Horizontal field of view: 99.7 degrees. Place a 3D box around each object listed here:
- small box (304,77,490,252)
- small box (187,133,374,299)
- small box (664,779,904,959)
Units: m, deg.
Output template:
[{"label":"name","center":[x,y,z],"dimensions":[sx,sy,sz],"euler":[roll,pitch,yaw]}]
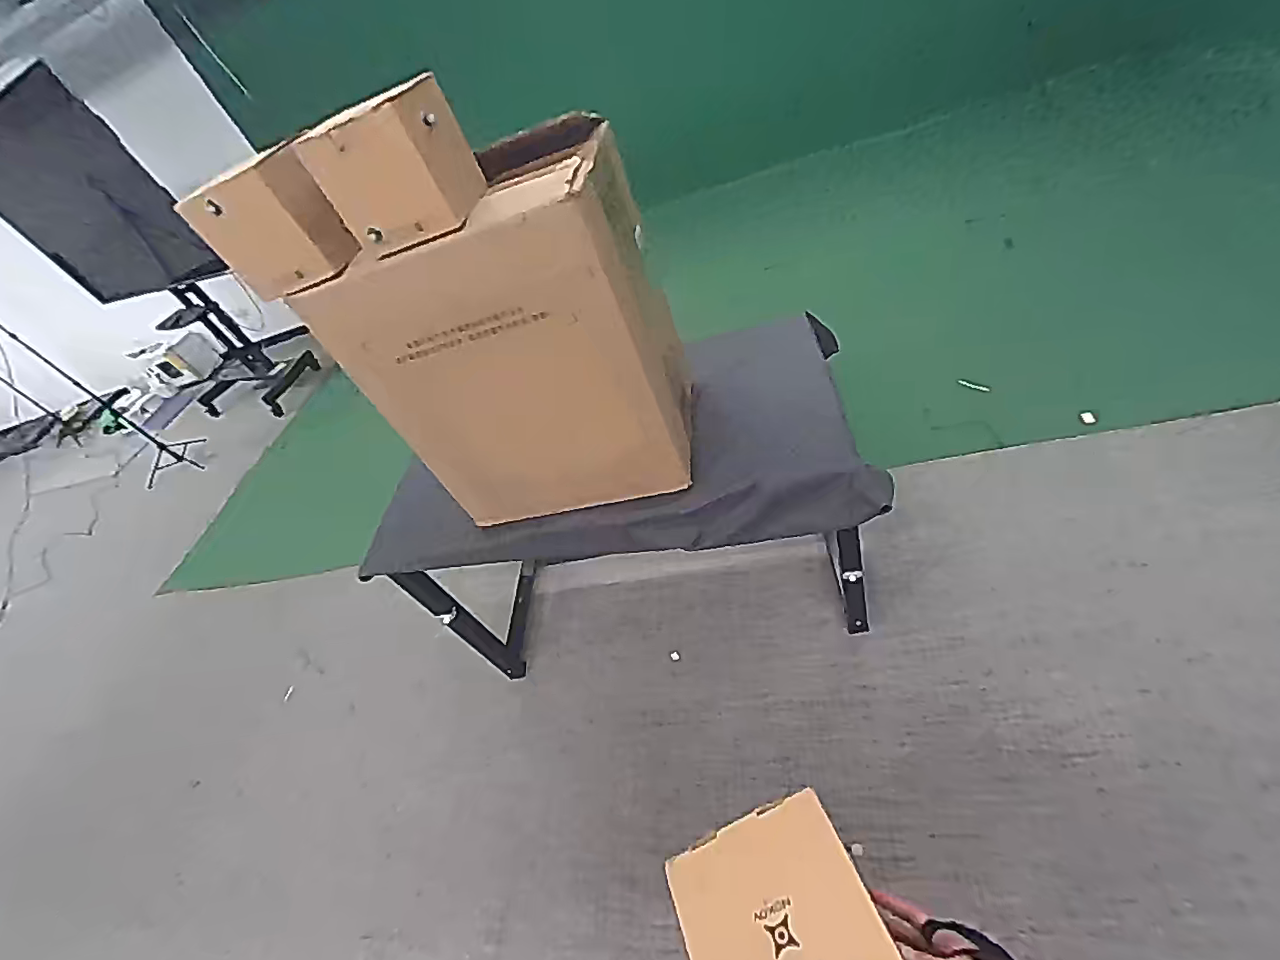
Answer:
[{"label":"small box","center":[-0.355,-0.473,0.829],"dimensions":[0.168,0.176,0.179],"euler":[-11,44,16]},{"label":"small box","center":[-0.565,-0.428,0.889],"dimensions":[0.168,0.176,0.179],"euler":[-11,44,20]},{"label":"small box","center":[0.145,0.432,0.515],"dimensions":[0.168,0.176,0.179],"euler":[-27,38,1]}]
